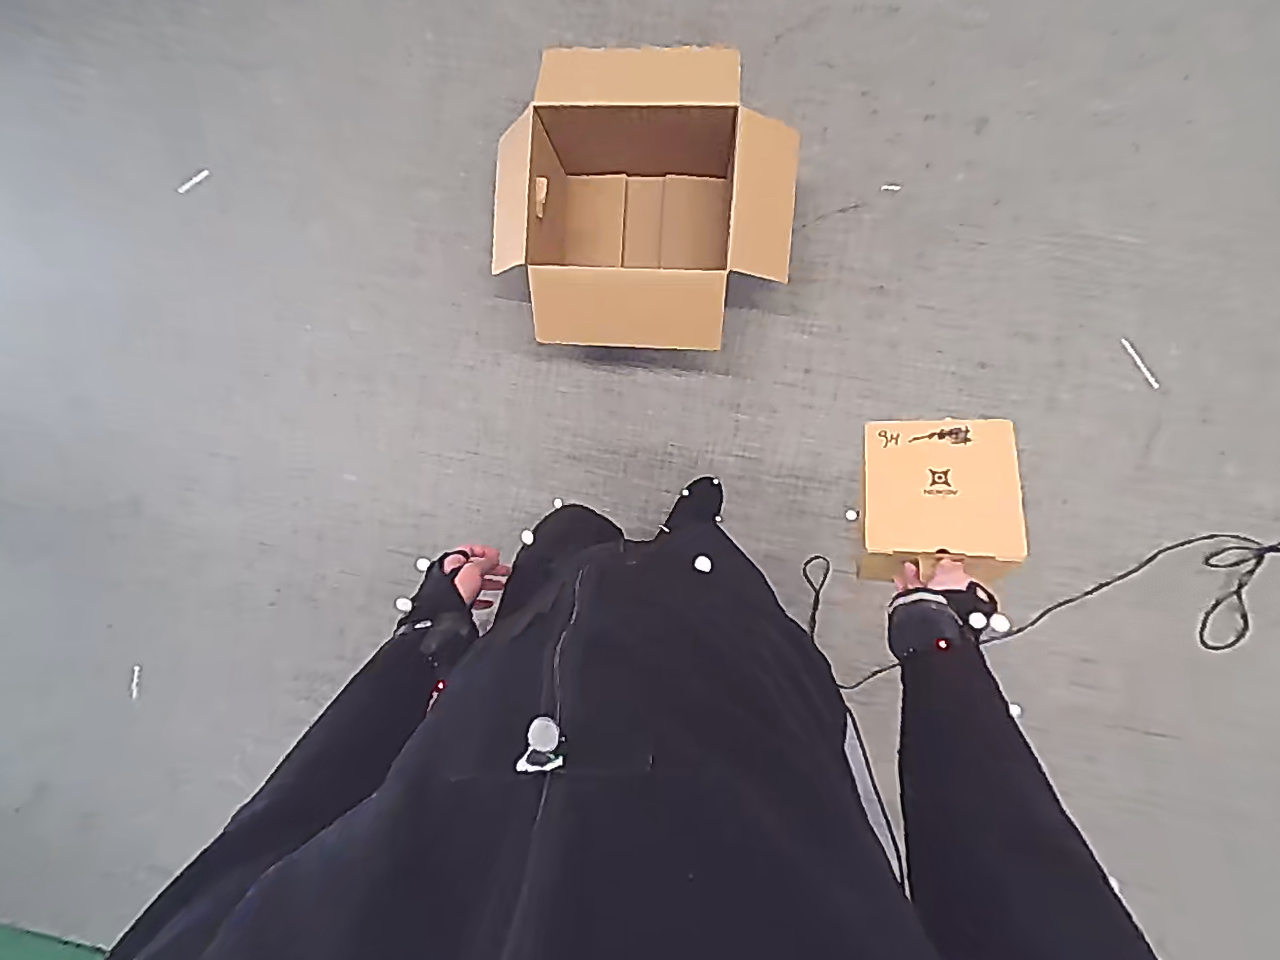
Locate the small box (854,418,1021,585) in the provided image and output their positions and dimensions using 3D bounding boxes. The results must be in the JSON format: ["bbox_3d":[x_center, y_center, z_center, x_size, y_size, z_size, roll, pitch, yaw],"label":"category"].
[{"bbox_3d":[0.376,0.034,0.712,0.168,0.176,0.179,2,68,19],"label":"small box"}]
